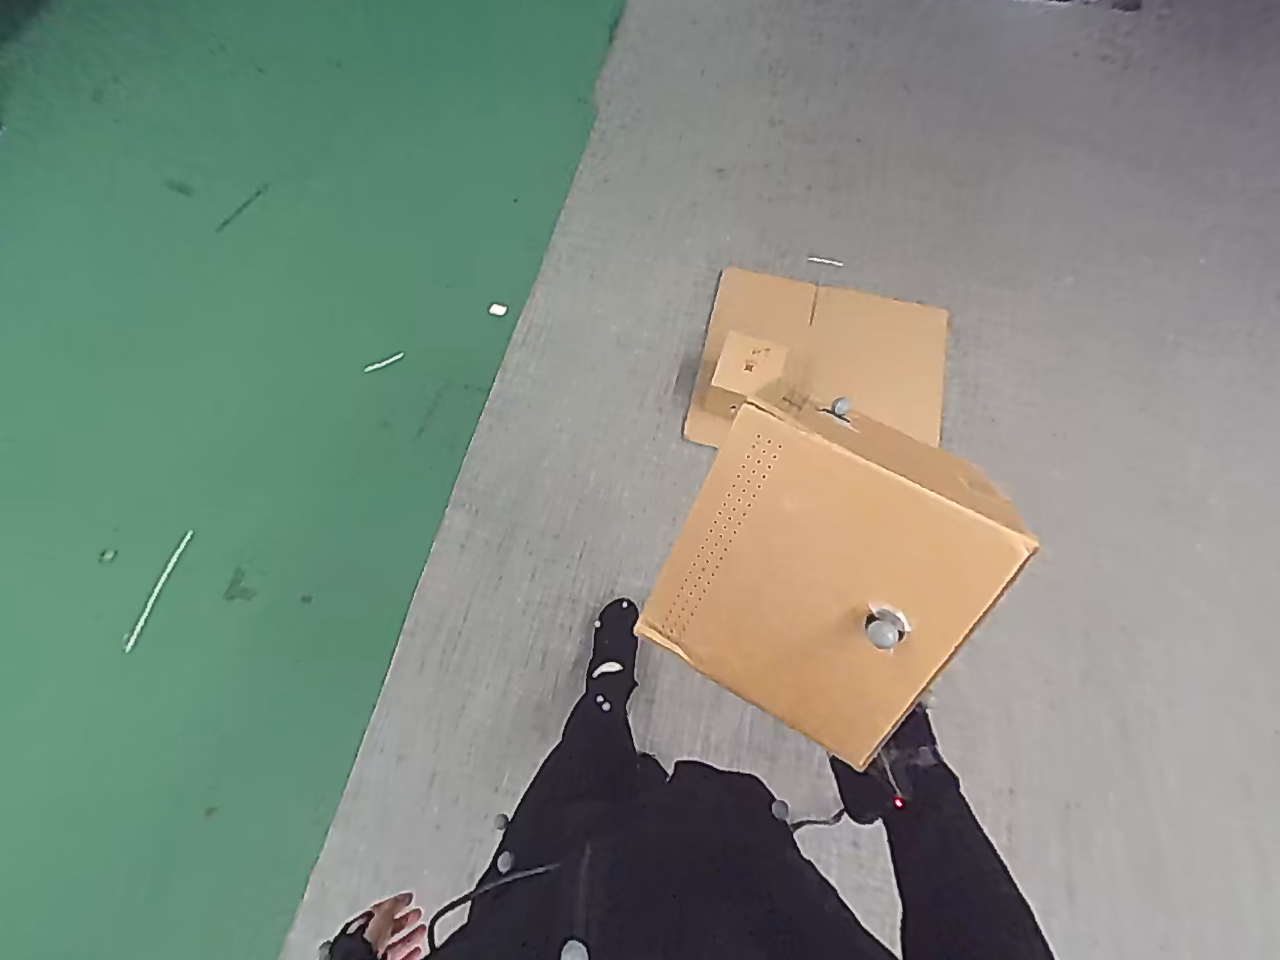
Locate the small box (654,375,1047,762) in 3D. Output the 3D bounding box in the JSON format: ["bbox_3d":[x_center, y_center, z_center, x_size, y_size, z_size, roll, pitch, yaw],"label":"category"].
[{"bbox_3d":[0.127,0.043,0.384,0.176,0.168,0.179,28,113,13],"label":"small box"}]

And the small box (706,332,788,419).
[{"bbox_3d":[0.284,-0.264,1.471,0.168,0.176,0.179,19,73,6],"label":"small box"}]
